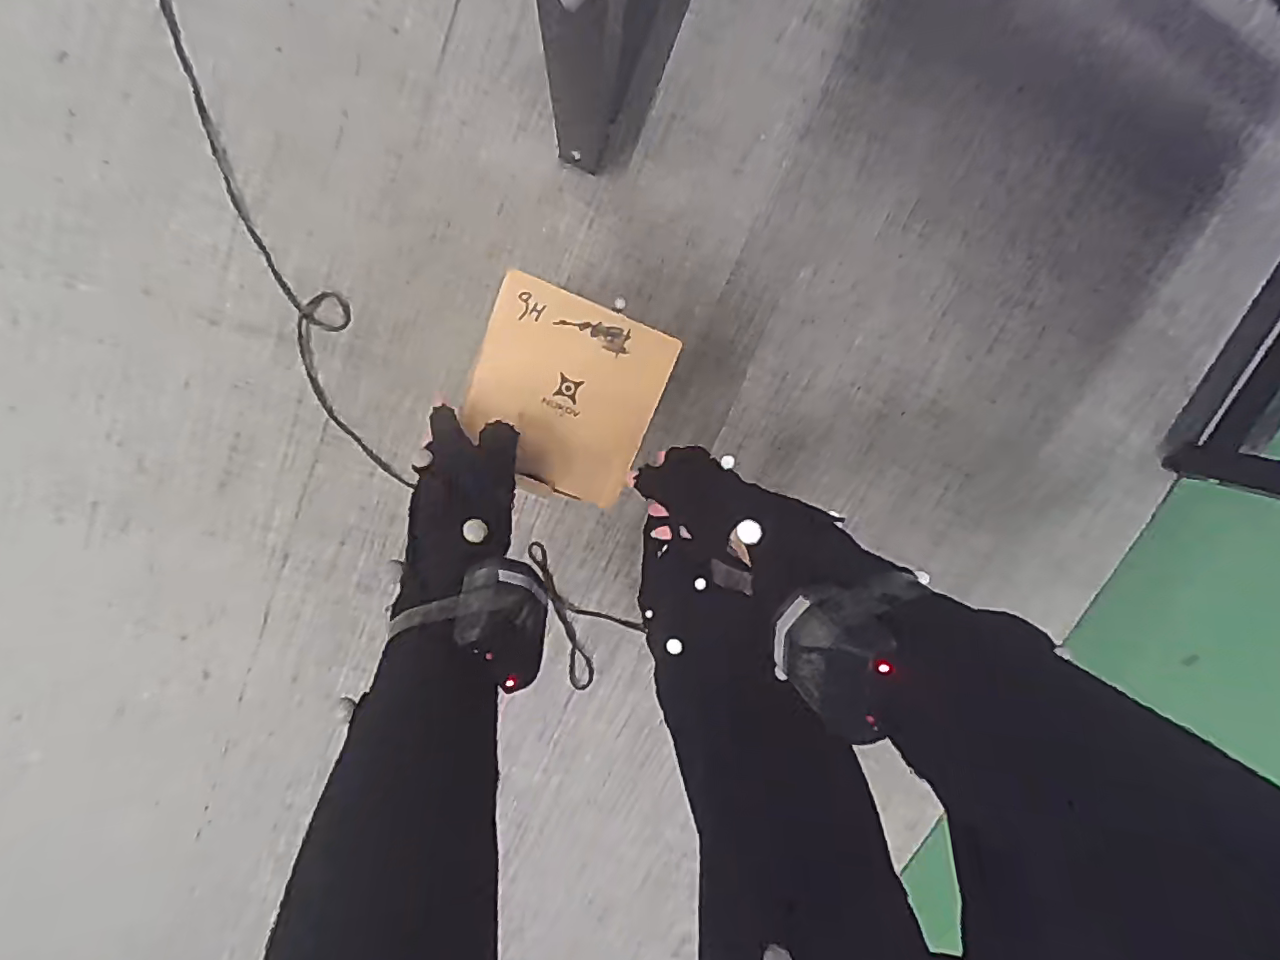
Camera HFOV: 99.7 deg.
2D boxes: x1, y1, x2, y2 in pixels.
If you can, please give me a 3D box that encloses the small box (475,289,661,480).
[{"bbox_3d":[-0.096,-0.131,0.726,0.168,0.176,0.179,30,101,-13],"label":"small box"}]
